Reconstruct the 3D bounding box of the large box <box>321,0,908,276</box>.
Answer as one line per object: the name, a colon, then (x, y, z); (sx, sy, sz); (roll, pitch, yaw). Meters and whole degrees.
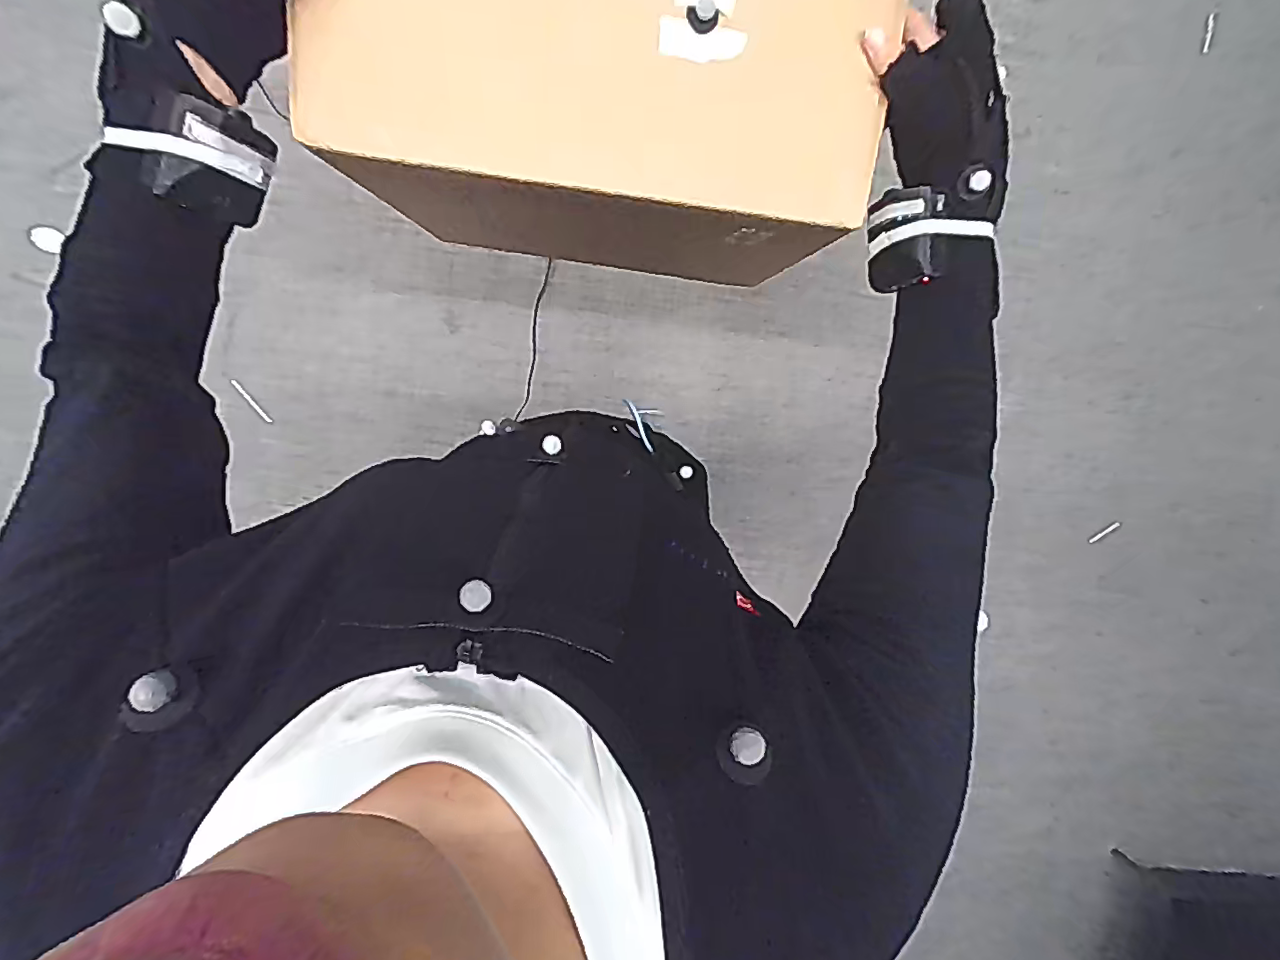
large box: (-0.018, -0.396, 0.505); (0.408, 0.320, 0.320); (6, 102, -5)
